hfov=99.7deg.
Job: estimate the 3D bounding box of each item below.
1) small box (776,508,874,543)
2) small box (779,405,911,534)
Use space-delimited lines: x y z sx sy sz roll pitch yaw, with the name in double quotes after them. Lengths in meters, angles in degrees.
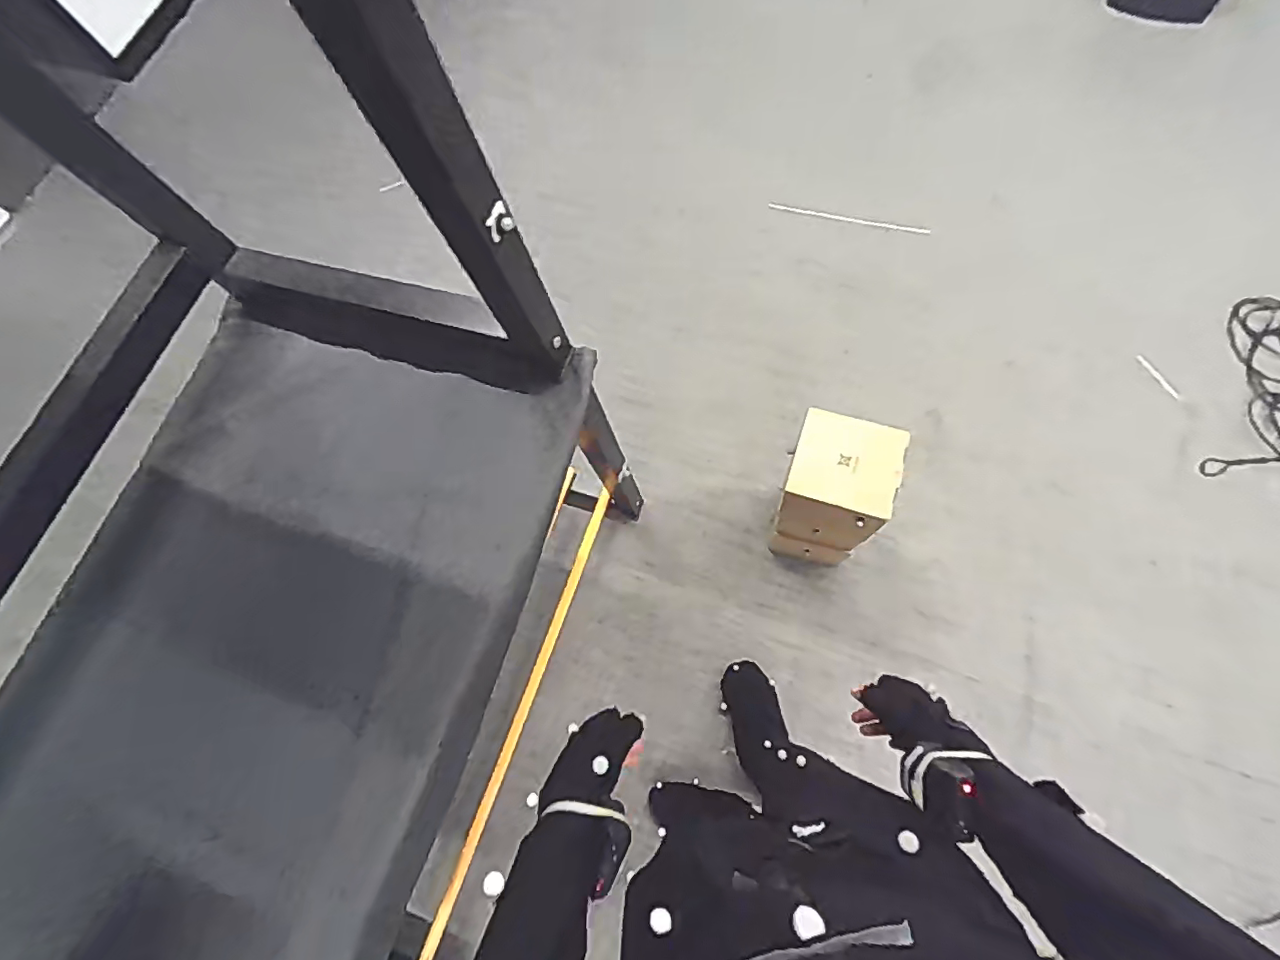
0.396 0.027 1.141 0.179 0.176 0.168 14 75 14 "small box"
0.362 -0.011 0.985 0.179 0.176 0.168 17 76 13 "small box"
